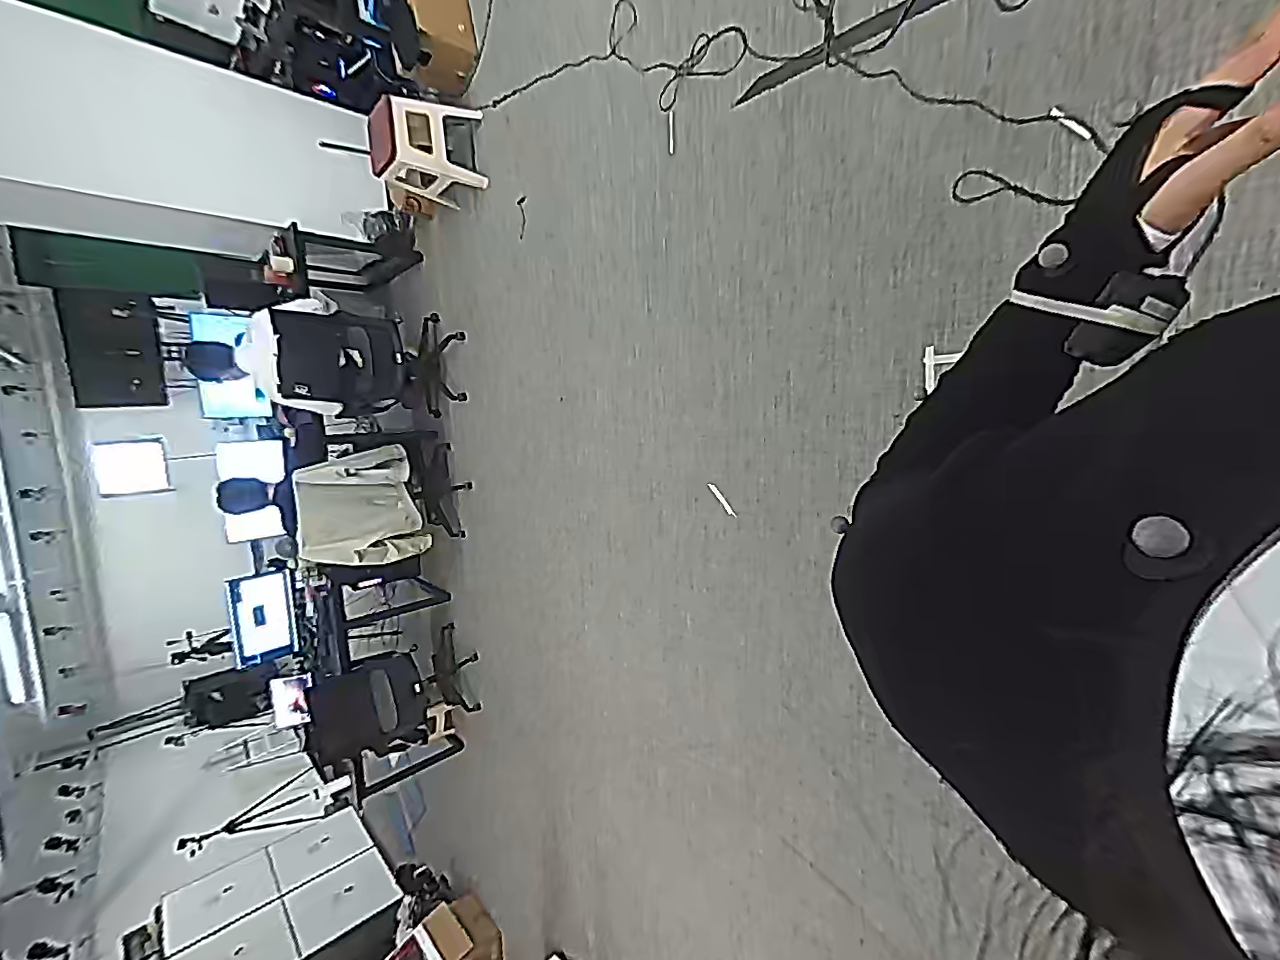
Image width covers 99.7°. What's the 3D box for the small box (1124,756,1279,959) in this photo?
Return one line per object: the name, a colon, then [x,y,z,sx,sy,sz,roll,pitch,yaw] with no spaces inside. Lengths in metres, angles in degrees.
small box: [0.753,0.501,0.701,0.168,0.176,0.179,3,95,46]
